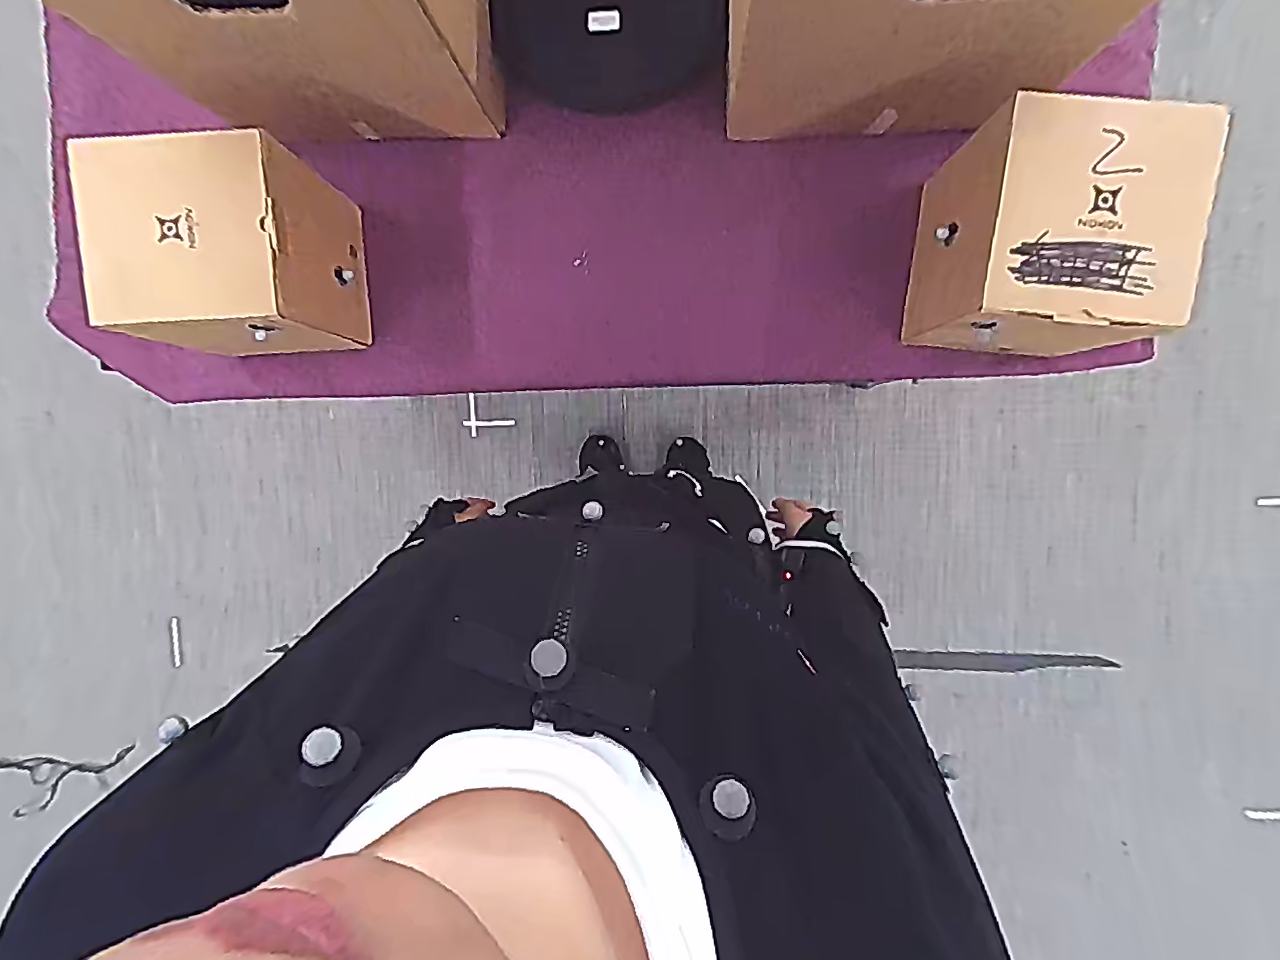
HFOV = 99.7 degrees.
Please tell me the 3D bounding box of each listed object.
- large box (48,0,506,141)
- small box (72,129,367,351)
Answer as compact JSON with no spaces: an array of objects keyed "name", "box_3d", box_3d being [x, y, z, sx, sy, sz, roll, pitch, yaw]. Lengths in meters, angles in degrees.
[{"name":"large box","box_3d":[-0.312,-0.579,0.466,0.320,0.320,0.408,1,98,4]},{"name":"small box","box_3d":[-0.421,-0.235,0.571,0.179,0.176,0.168,-4,95,0]}]
